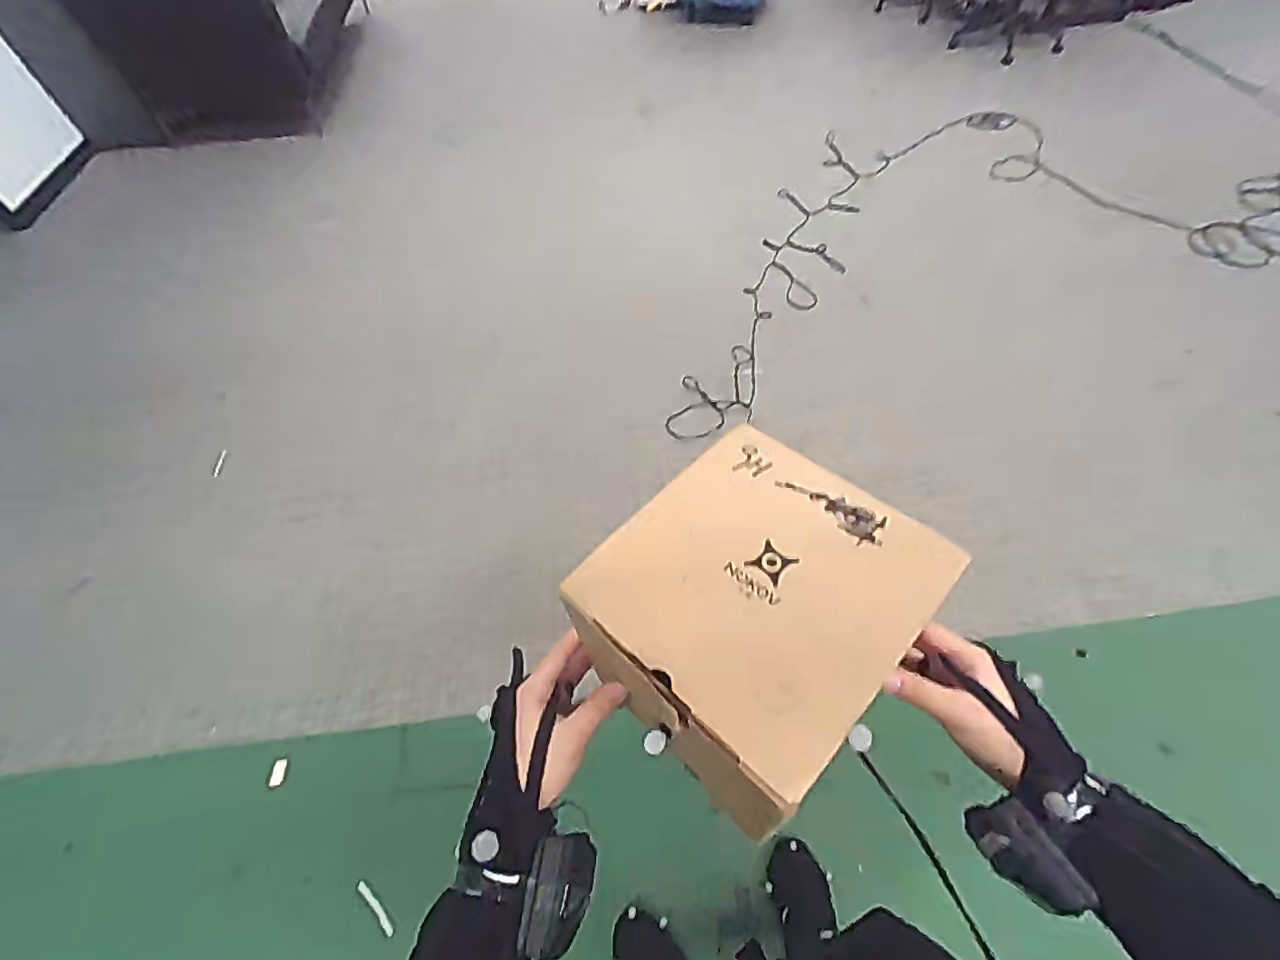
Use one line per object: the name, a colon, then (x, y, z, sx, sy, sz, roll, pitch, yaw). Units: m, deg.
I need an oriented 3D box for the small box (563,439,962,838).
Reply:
small box: (0.078, 0.112, 0.377, 0.179, 0.176, 0.168, -41, 58, -22)
